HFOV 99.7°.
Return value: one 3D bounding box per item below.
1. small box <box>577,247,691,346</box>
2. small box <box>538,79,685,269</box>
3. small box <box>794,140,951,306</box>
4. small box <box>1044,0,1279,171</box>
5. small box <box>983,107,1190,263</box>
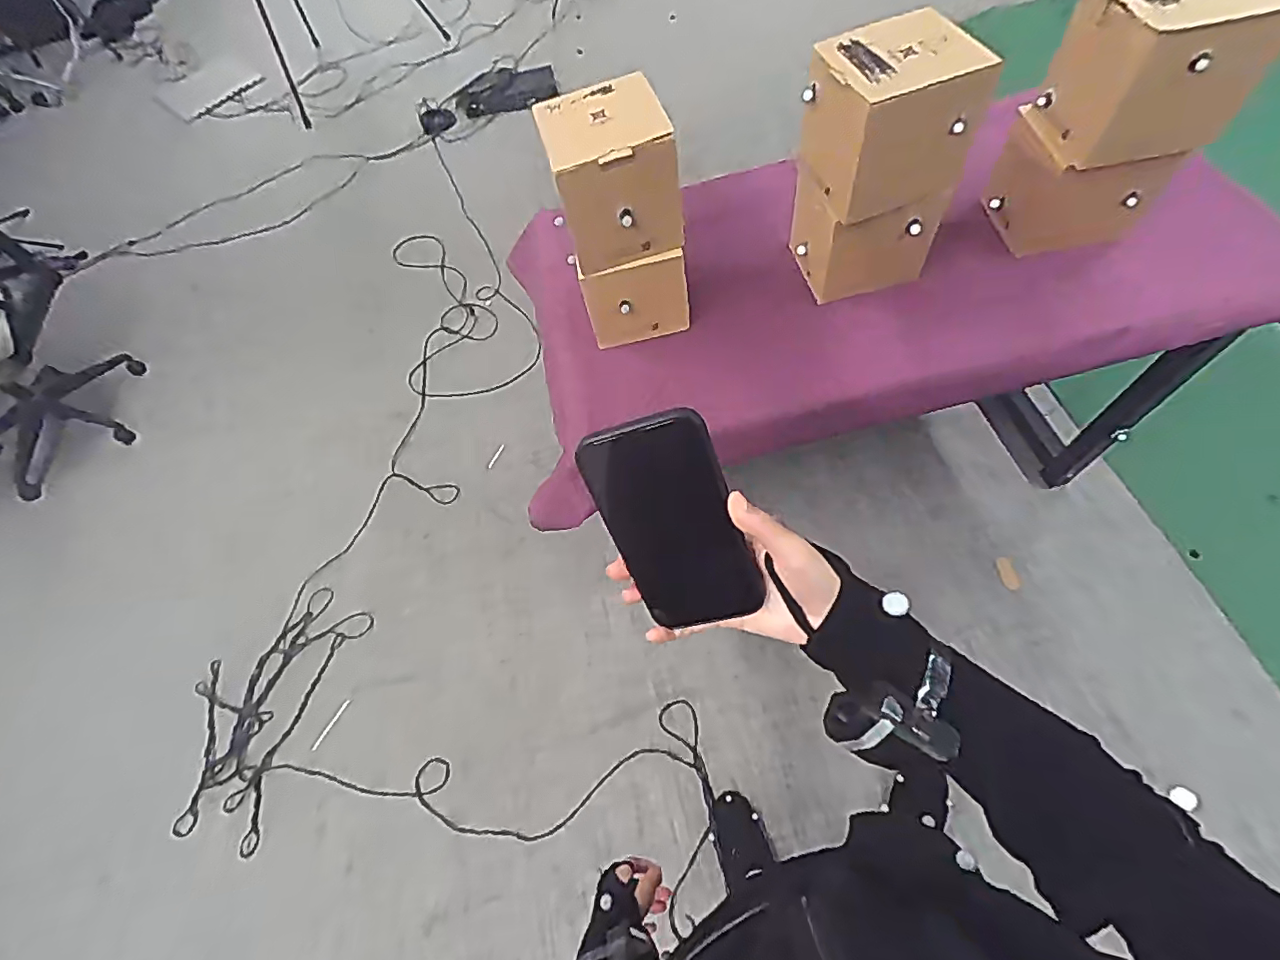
[{"bbox_3d":[-0.010,-0.354,0.937,0.168,0.176,0.179,-12,60,3],"label":"small box"},{"bbox_3d":[-0.037,-0.438,0.799,0.168,0.176,0.179,-16,61,0],"label":"small box"},{"bbox_3d":[0.373,-0.422,0.906,0.179,0.176,0.168,-13,60,3],"label":"small box"},{"bbox_3d":[0.694,-0.551,0.732,0.179,0.176,0.168,-7,61,5],"label":"small box"},{"bbox_3d":[0.707,-0.485,0.882,0.179,0.176,0.168,-7,60,6],"label":"small box"}]
